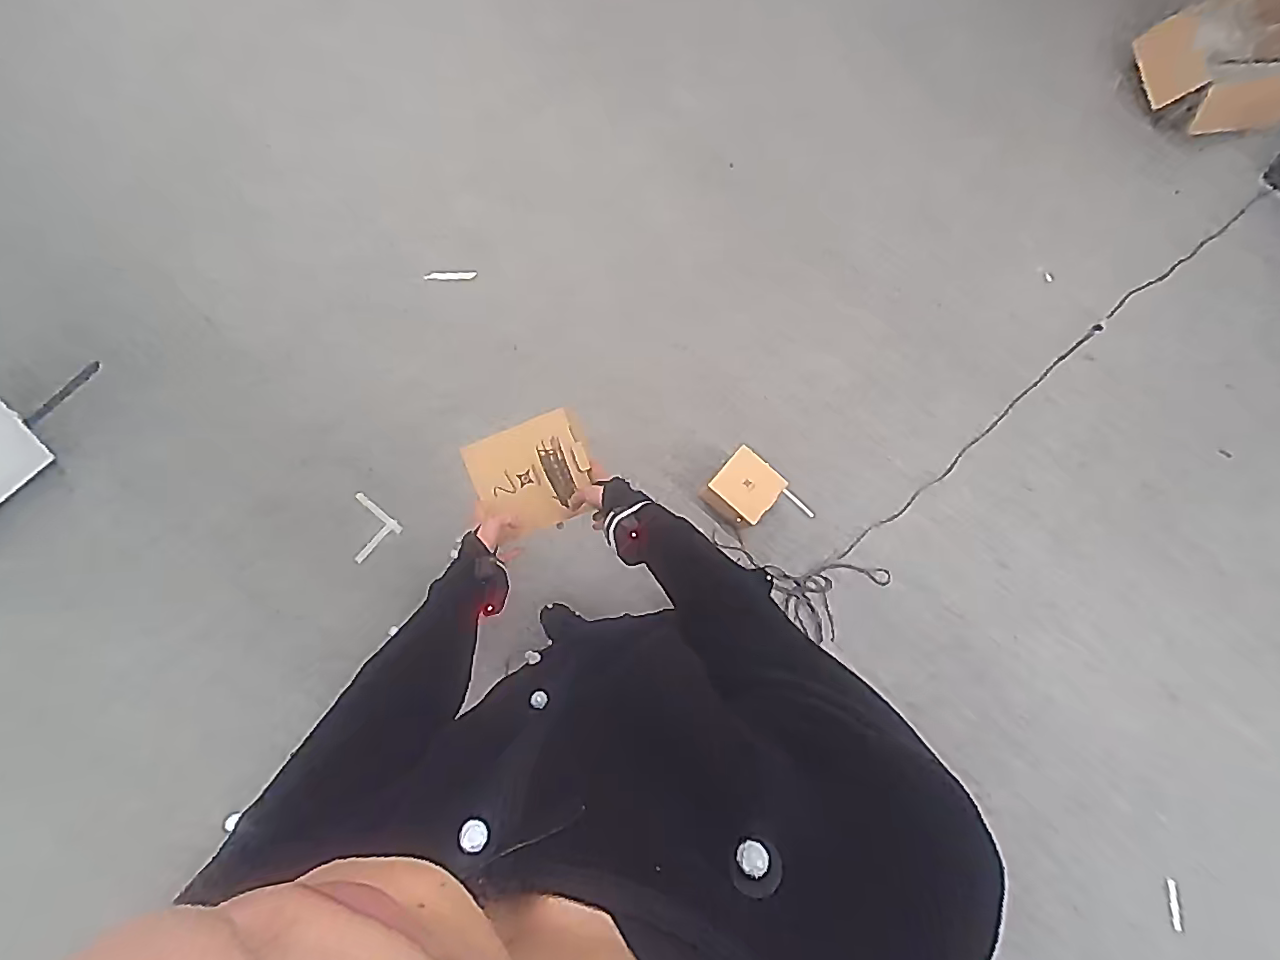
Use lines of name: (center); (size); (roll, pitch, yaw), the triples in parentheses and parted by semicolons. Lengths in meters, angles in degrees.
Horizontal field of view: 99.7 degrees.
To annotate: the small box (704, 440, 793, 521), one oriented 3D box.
small box: (0.315, 0.011, 1.614); (0.179, 0.176, 0.168); (41, 82, 2)
